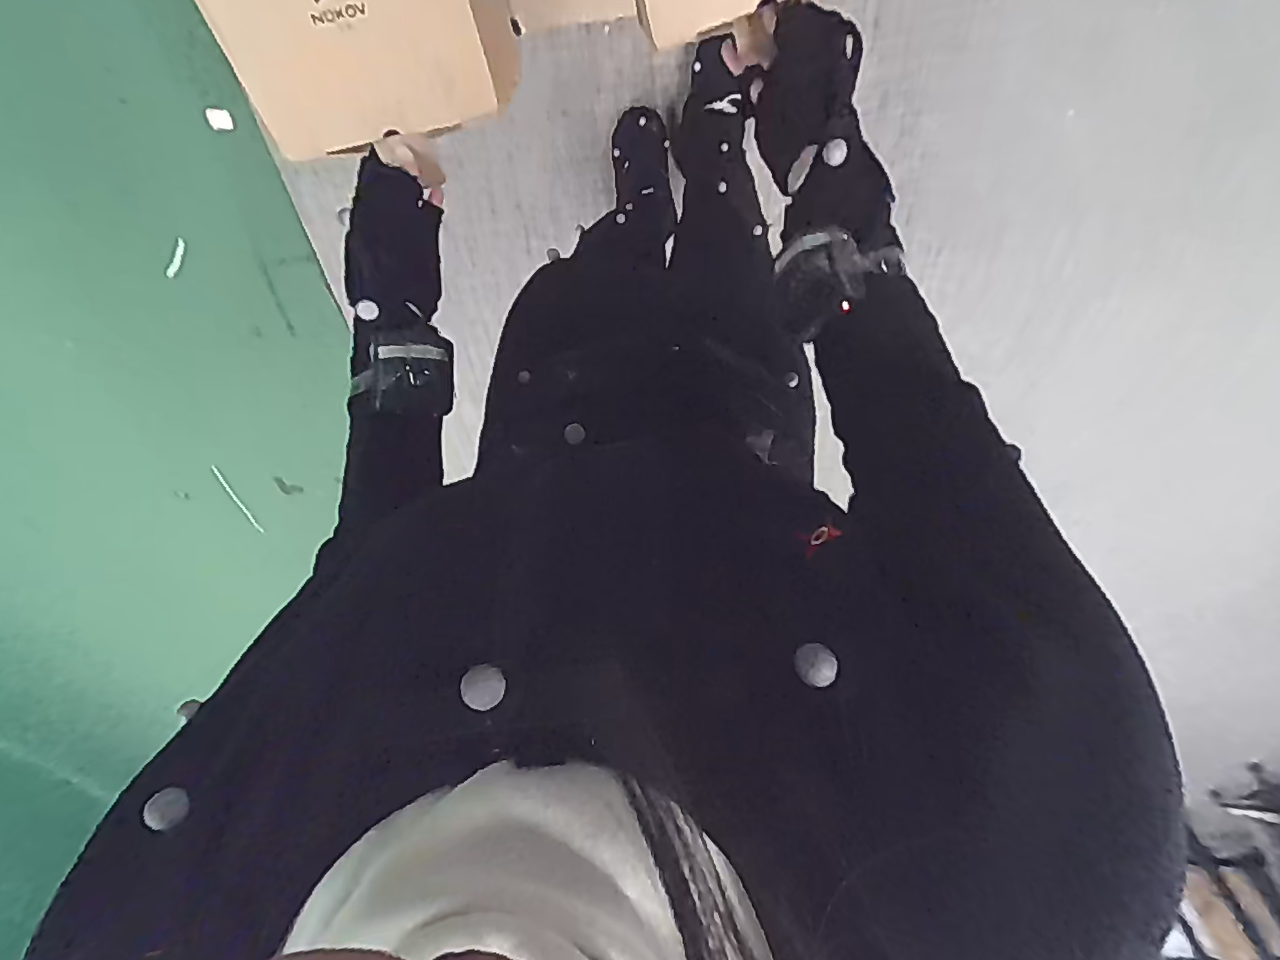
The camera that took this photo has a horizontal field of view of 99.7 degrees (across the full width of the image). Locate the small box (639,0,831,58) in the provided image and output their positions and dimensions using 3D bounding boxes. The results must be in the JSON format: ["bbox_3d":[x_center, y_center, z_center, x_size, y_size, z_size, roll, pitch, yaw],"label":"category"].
[{"bbox_3d":[0.065,-0.444,0.382,0.168,0.176,0.179,-14,135,8],"label":"small box"}]

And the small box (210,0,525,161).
[{"bbox_3d":[-0.190,-0.363,0.390,0.168,0.176,0.179,-10,134,4],"label":"small box"}]
